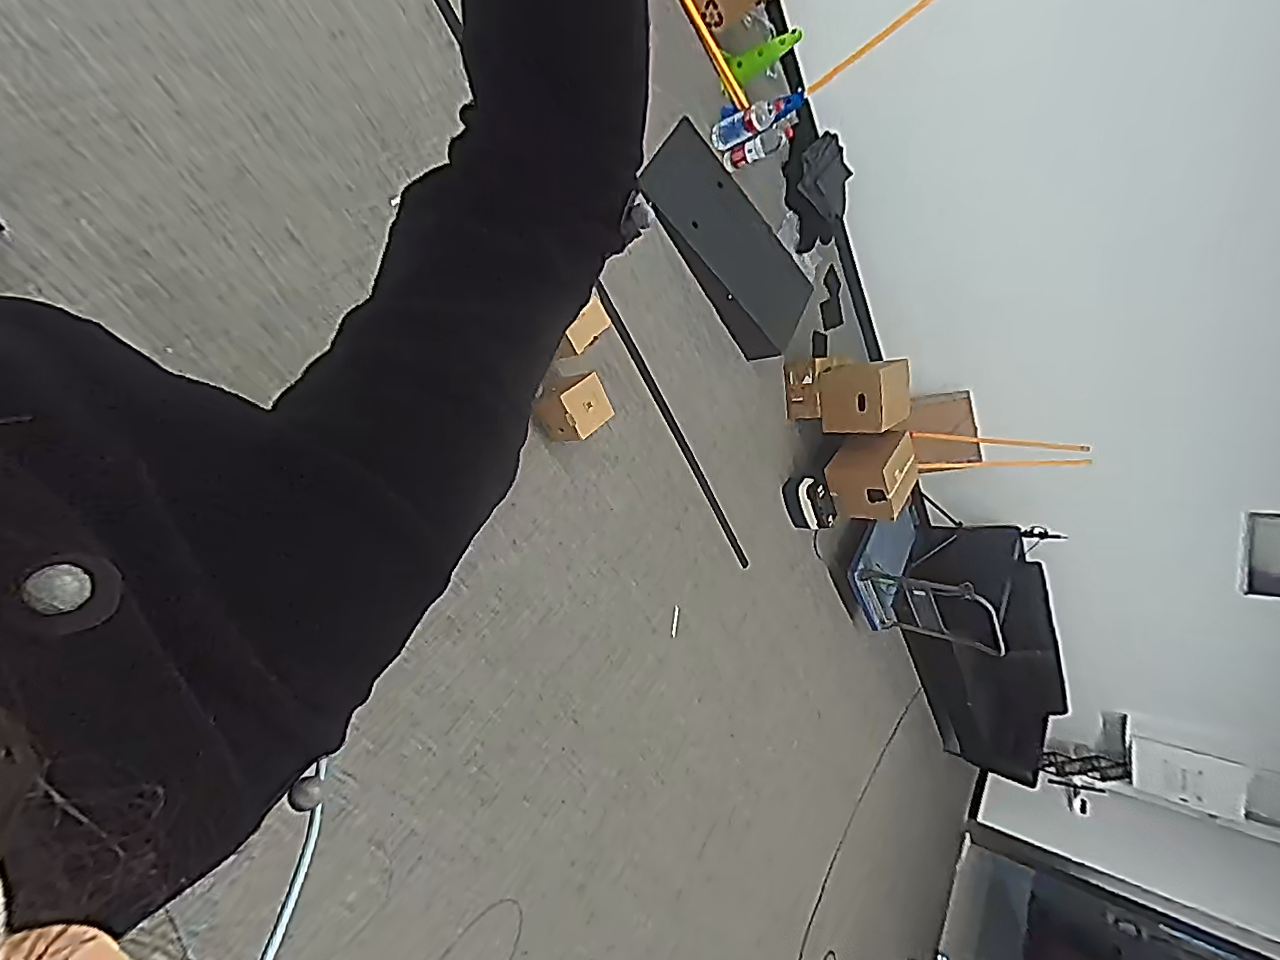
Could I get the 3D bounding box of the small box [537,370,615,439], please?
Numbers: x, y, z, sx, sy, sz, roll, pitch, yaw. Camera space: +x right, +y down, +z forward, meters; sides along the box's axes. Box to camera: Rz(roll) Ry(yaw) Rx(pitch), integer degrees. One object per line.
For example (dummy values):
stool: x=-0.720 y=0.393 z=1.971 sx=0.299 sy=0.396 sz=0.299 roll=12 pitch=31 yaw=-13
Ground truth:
small box: x=-0.221 y=-0.247 z=1.811 sx=0.179 sy=0.176 sz=0.168 roll=-45 pitch=121 yaw=-35

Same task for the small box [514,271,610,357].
small box: x=-0.226 y=-0.472 z=1.566 sx=0.168 sy=0.176 sz=0.179 roll=-53 pitch=126 yaw=-31
